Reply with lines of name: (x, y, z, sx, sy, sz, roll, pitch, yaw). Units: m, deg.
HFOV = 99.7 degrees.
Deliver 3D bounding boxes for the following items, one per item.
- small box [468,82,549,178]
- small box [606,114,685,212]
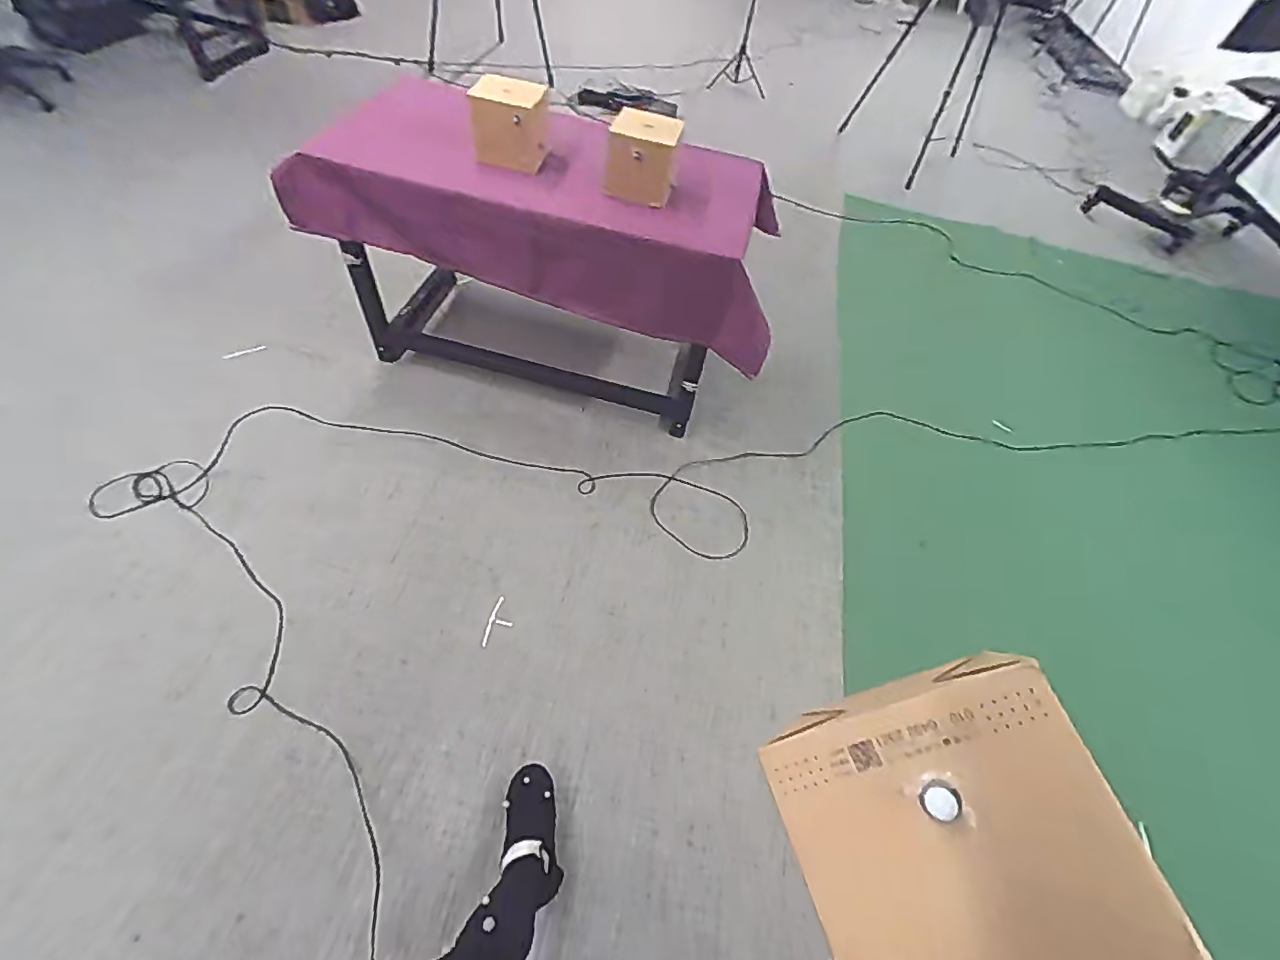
small box: (-0.358, -0.968, 1.502, 0.179, 0.176, 0.168, 12, 53, -1)
small box: (0.010, -0.862, 1.478, 0.179, 0.176, 0.168, 16, 54, 2)
